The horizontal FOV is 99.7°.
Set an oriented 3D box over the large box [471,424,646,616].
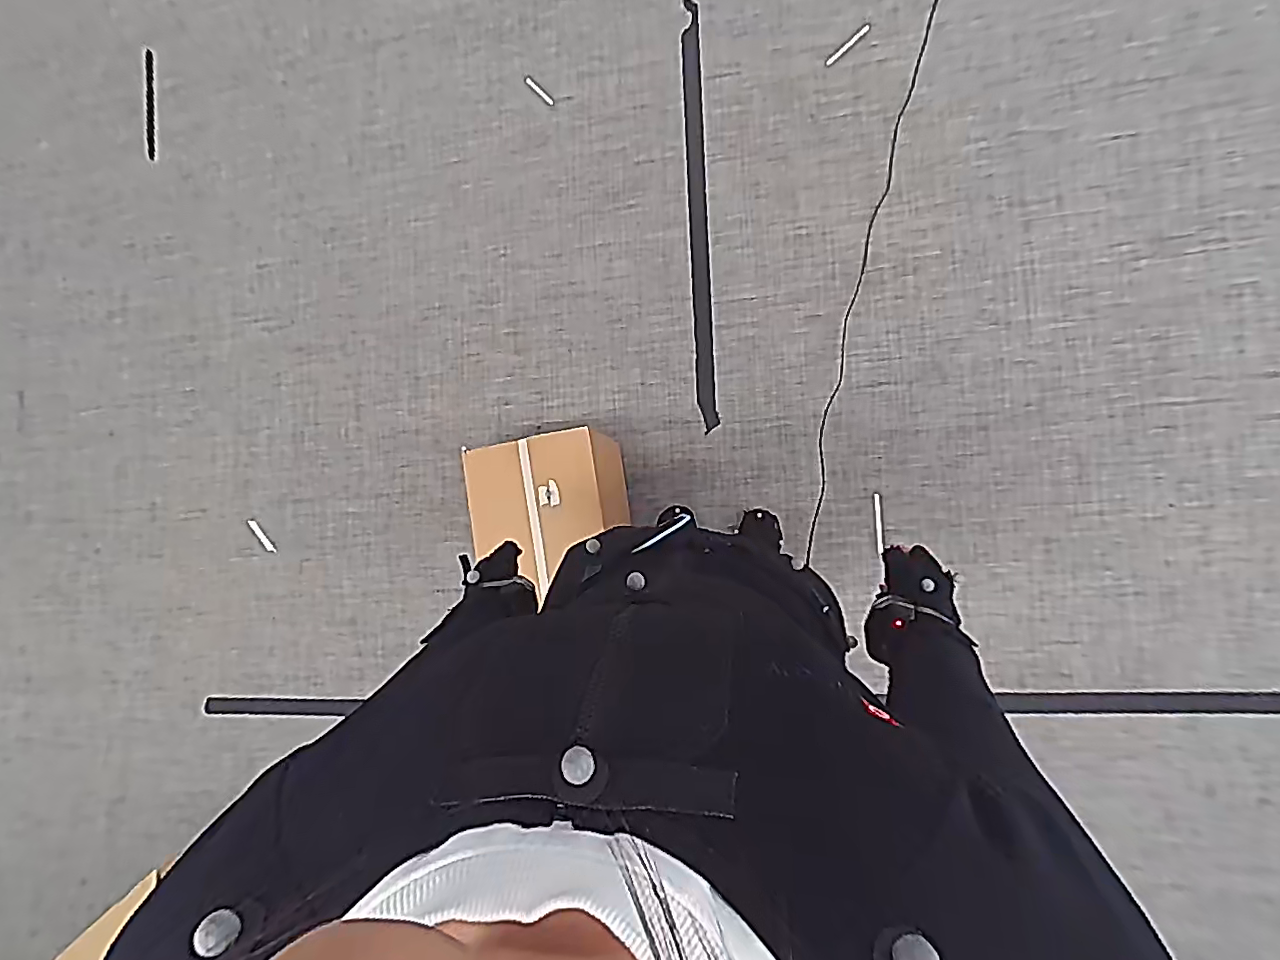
[{"bbox_3d":[-0.190,0.103,1.376,0.320,0.320,0.408,-10,84,10],"label":"large box"}]
